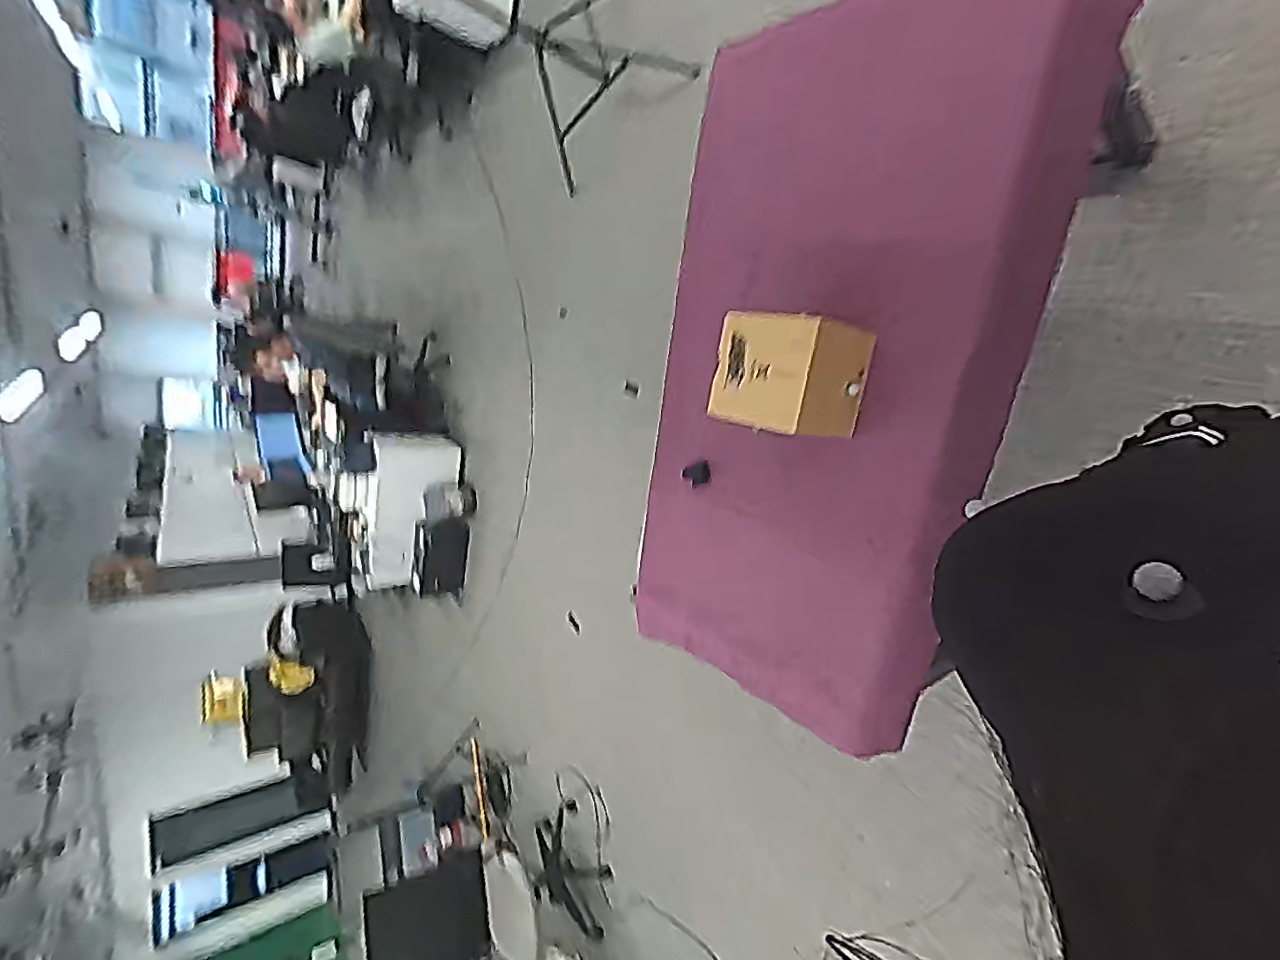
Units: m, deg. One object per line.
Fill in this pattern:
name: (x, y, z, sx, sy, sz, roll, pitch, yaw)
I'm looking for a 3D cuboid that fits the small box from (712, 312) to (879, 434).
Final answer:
small box: (0.248, -0.170, 0.873, 0.179, 0.176, 0.168, 23, 109, 48)
